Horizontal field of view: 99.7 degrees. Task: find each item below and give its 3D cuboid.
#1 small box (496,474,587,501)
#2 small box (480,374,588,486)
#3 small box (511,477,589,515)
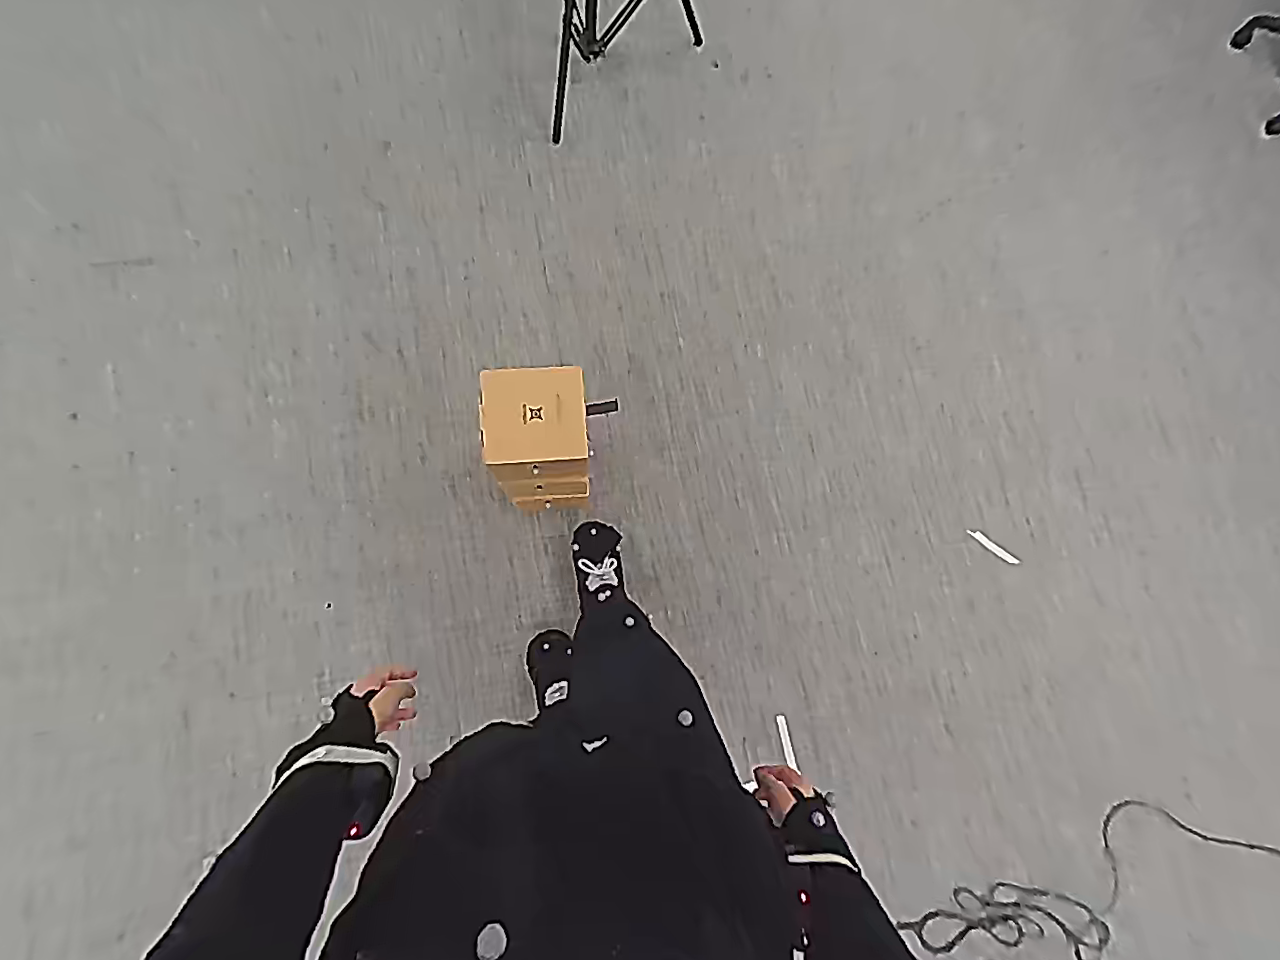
[{"bbox_3d":[-0.203,-0.048,1.150,0.179,0.176,0.168,-1,80,-6],"label":"small box"},{"bbox_3d":[-0.188,-0.085,0.993,0.179,0.176,0.168,-4,81,-7],"label":"small box"},{"bbox_3d":[-0.218,-0.011,1.310,0.179,0.176,0.168,-4,80,-7],"label":"small box"}]
